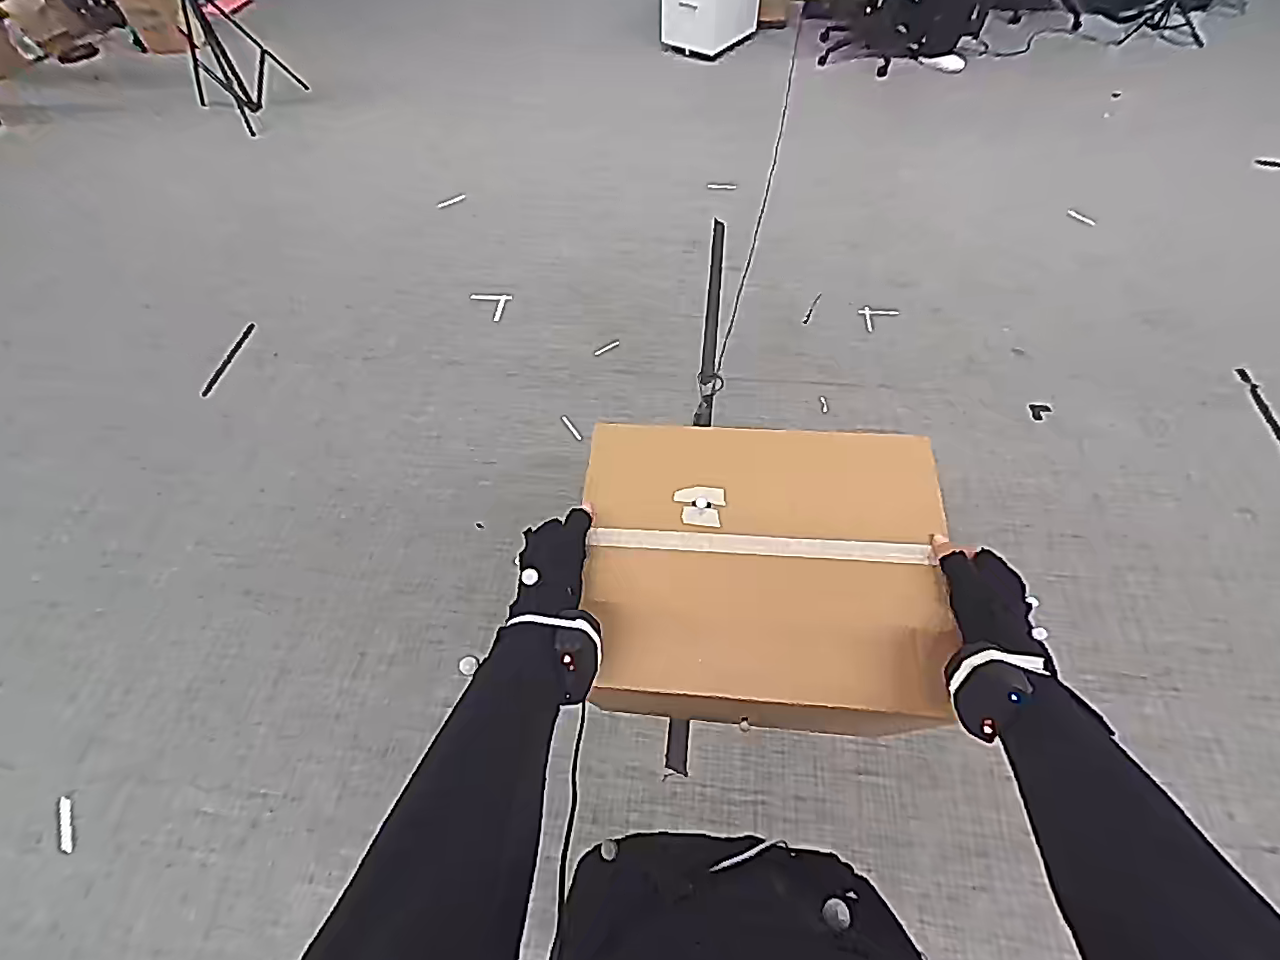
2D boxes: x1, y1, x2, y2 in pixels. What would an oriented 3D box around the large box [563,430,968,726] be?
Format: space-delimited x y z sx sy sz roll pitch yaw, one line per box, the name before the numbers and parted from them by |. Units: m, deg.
large box | 0.145 0.145 0.734 0.408 0.320 0.320 3 61 7
